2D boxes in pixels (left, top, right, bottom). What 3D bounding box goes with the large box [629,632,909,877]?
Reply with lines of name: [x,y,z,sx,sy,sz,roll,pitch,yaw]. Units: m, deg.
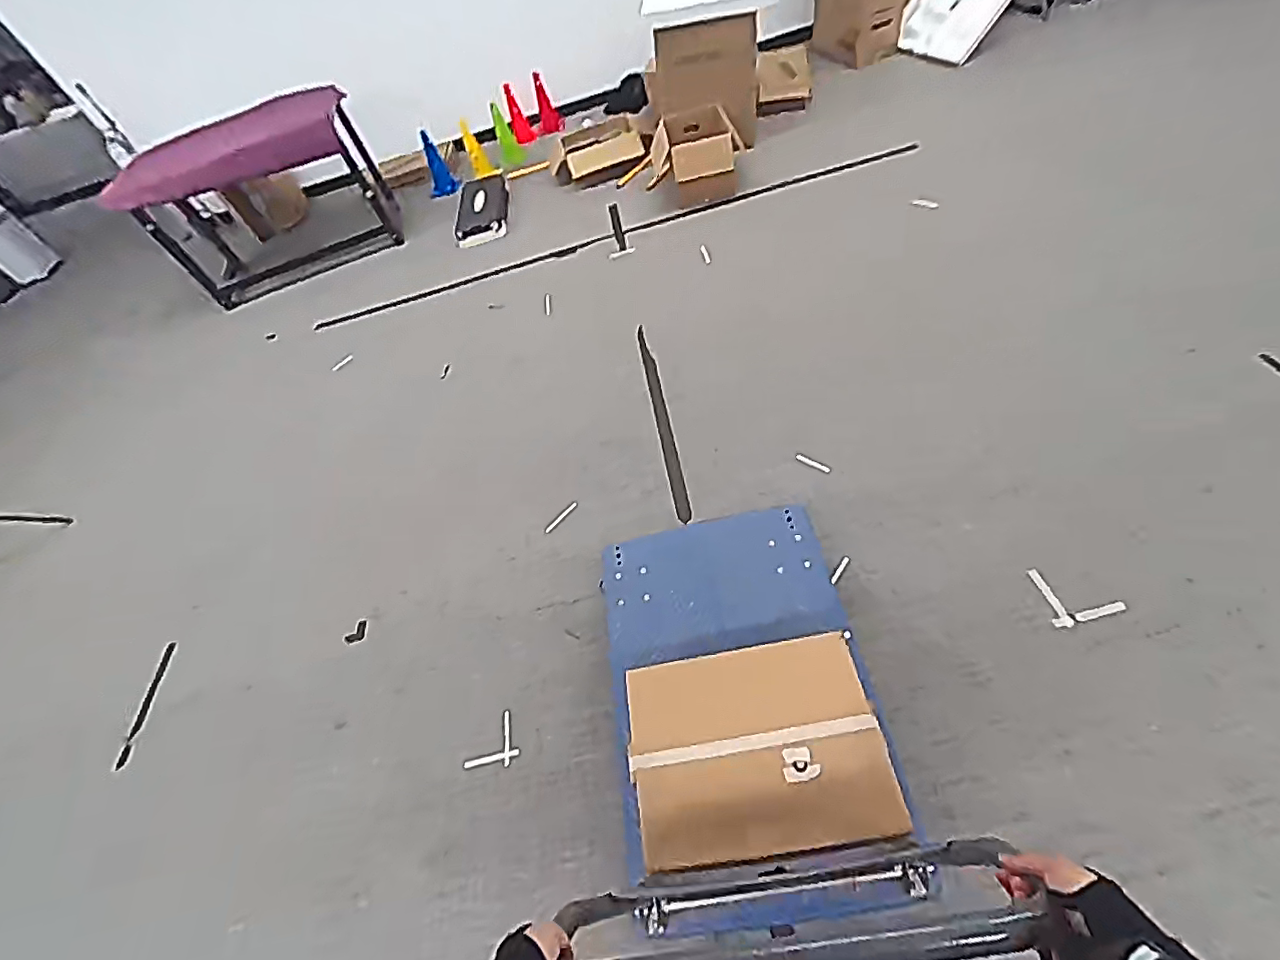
large box: [0.218,0.527,1.021,0.408,0.320,0.320,-12,52,5]
